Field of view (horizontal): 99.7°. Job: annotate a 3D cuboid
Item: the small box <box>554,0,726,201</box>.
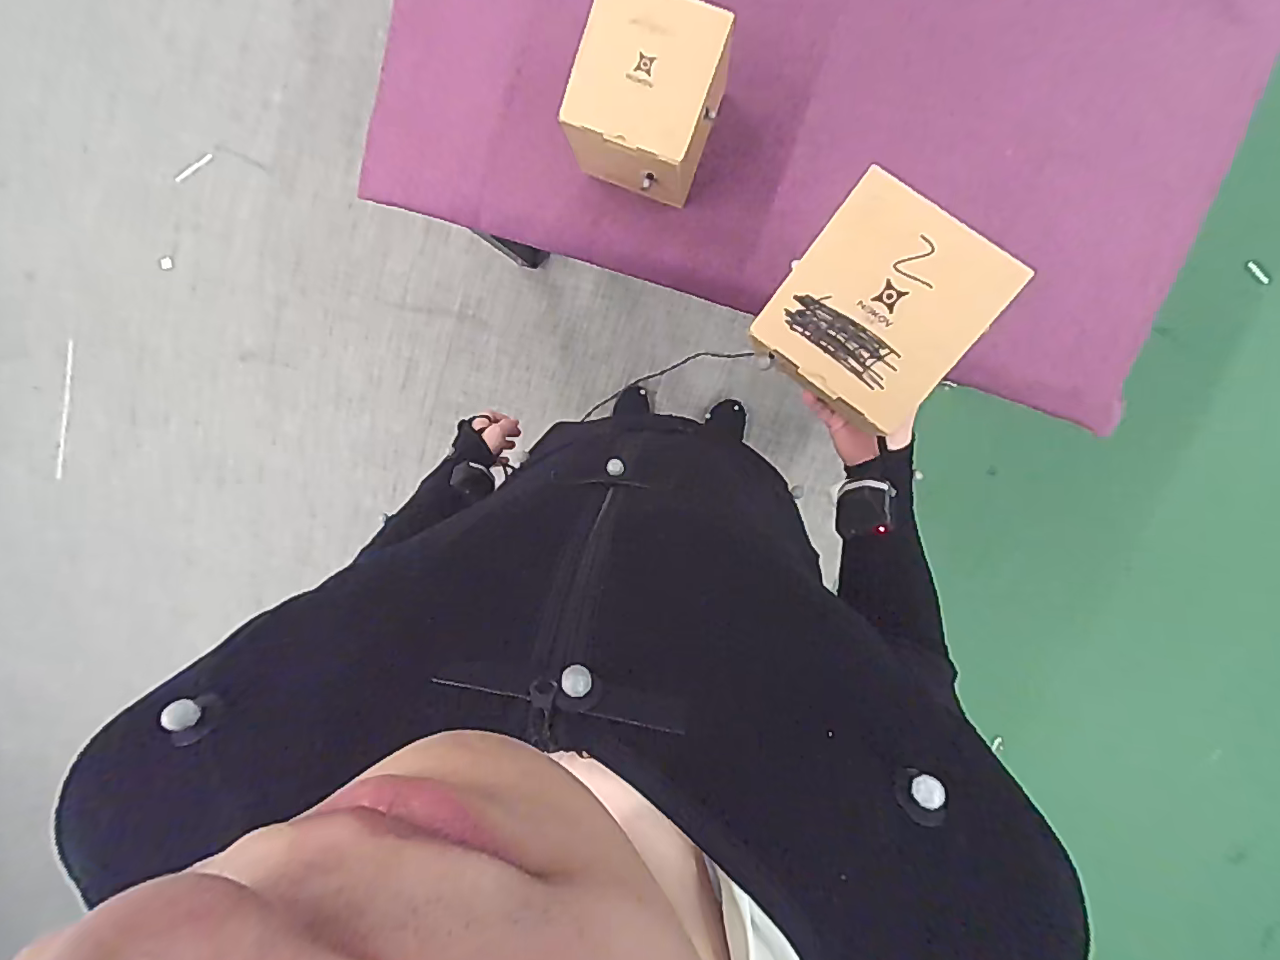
[{"bbox_3d":[0.004,-0.511,0.732,0.168,0.176,0.179,21,100,0],"label":"small box"}]
